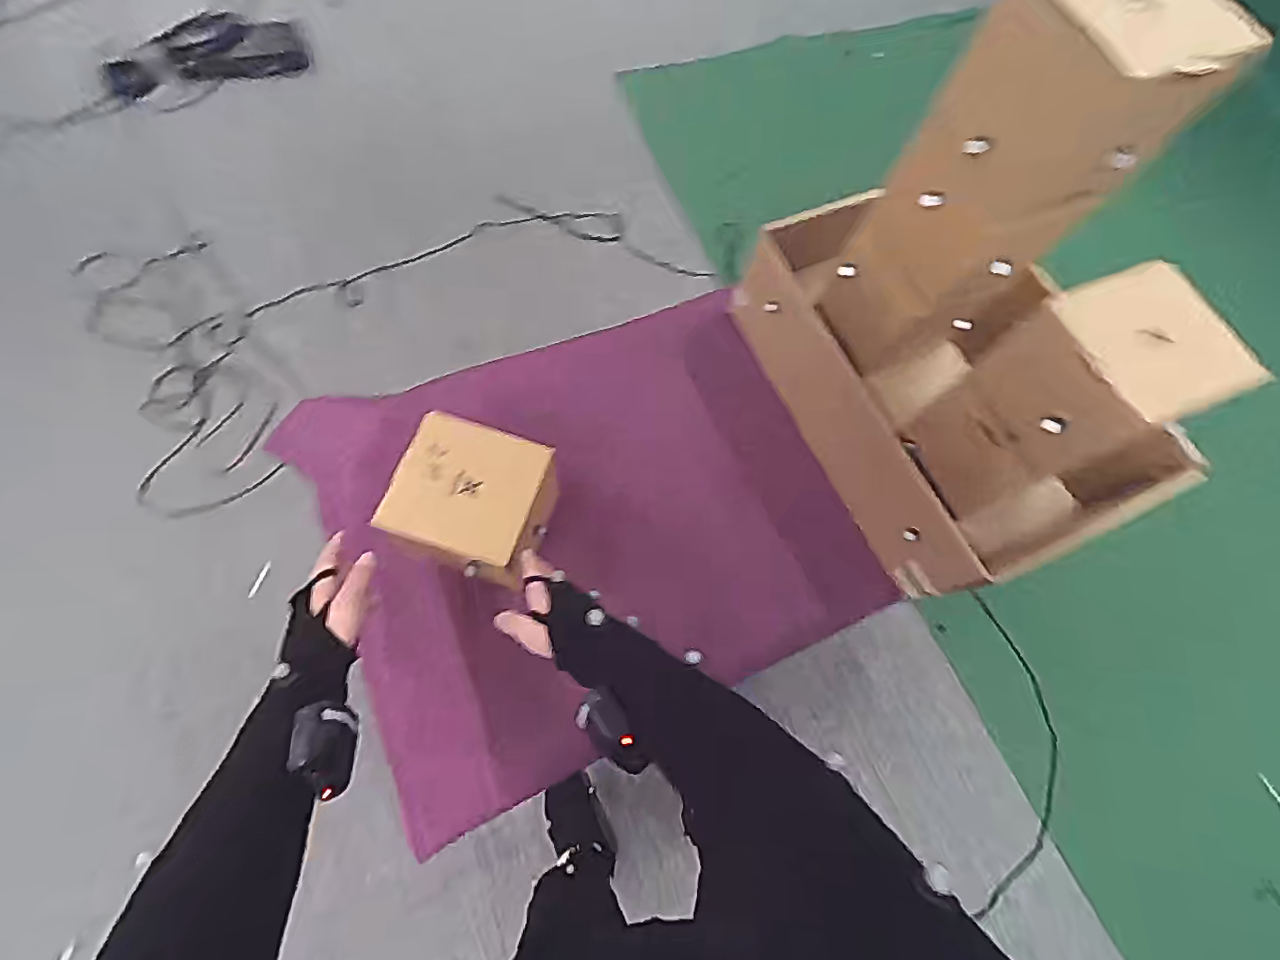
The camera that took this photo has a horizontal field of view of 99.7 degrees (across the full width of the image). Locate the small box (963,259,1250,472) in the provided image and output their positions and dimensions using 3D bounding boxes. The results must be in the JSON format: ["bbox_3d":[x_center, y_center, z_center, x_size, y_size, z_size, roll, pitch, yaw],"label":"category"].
[{"bbox_3d":[0.537,-0.129,0.659,0.179,0.176,0.168,-20,73,-11],"label":"small box"}]

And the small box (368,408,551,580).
[{"bbox_3d":[-0.231,0.031,0.752,0.179,0.176,0.168,18,68,1],"label":"small box"}]

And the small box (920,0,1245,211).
[{"bbox_3d":[0.452,-0.423,0.586,0.168,0.176,0.179,-20,74,-12],"label":"small box"}]
